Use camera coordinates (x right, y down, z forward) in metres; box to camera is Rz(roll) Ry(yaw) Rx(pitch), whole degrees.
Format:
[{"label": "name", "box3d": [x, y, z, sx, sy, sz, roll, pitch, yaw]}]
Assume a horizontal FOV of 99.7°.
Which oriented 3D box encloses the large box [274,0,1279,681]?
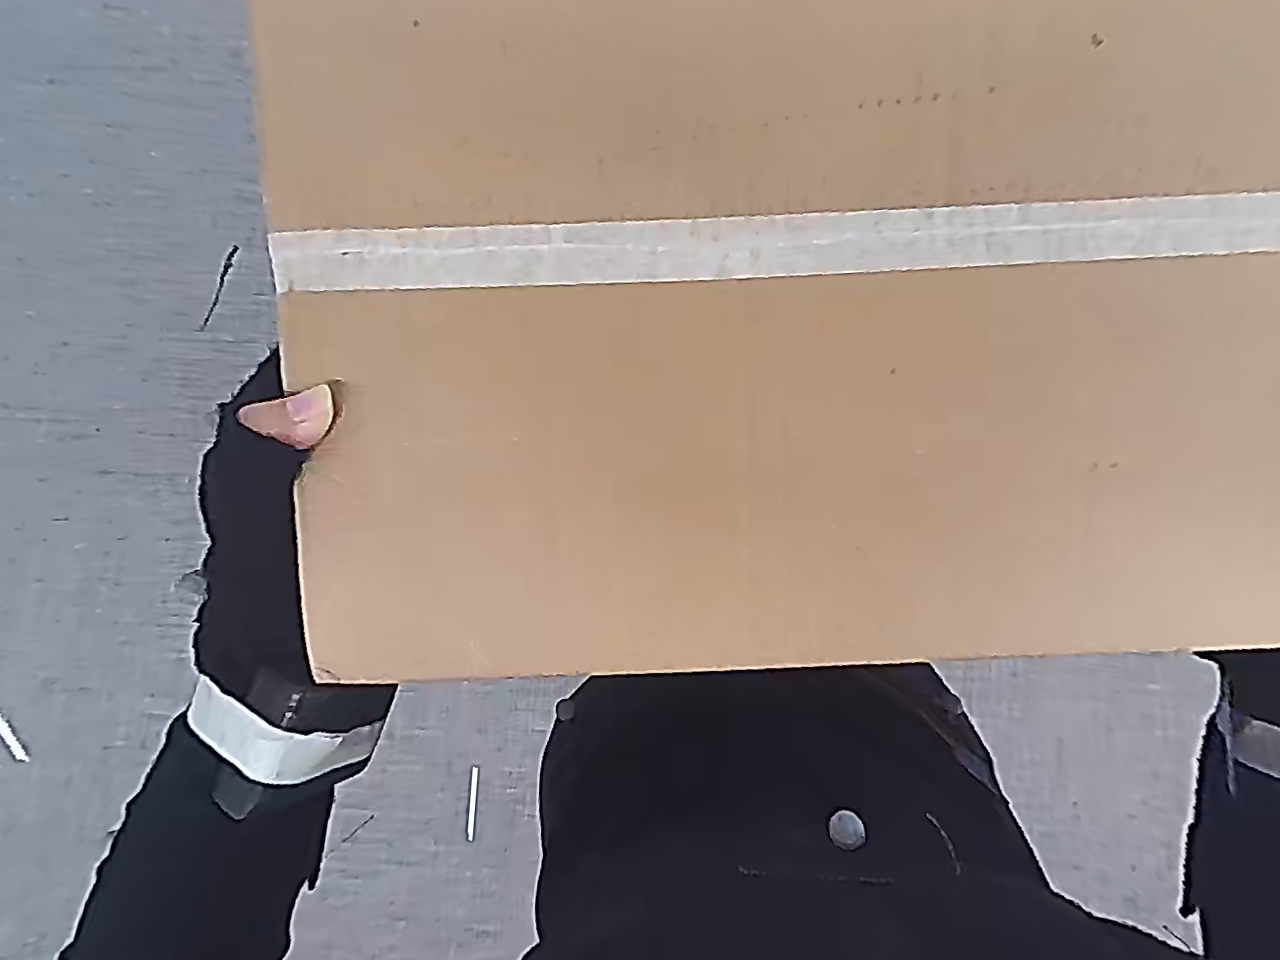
[{"label": "large box", "box3d": [0.068, -0.092, 0.357, 0.408, 0.320, 0.320, -2, 94, 0]}]
